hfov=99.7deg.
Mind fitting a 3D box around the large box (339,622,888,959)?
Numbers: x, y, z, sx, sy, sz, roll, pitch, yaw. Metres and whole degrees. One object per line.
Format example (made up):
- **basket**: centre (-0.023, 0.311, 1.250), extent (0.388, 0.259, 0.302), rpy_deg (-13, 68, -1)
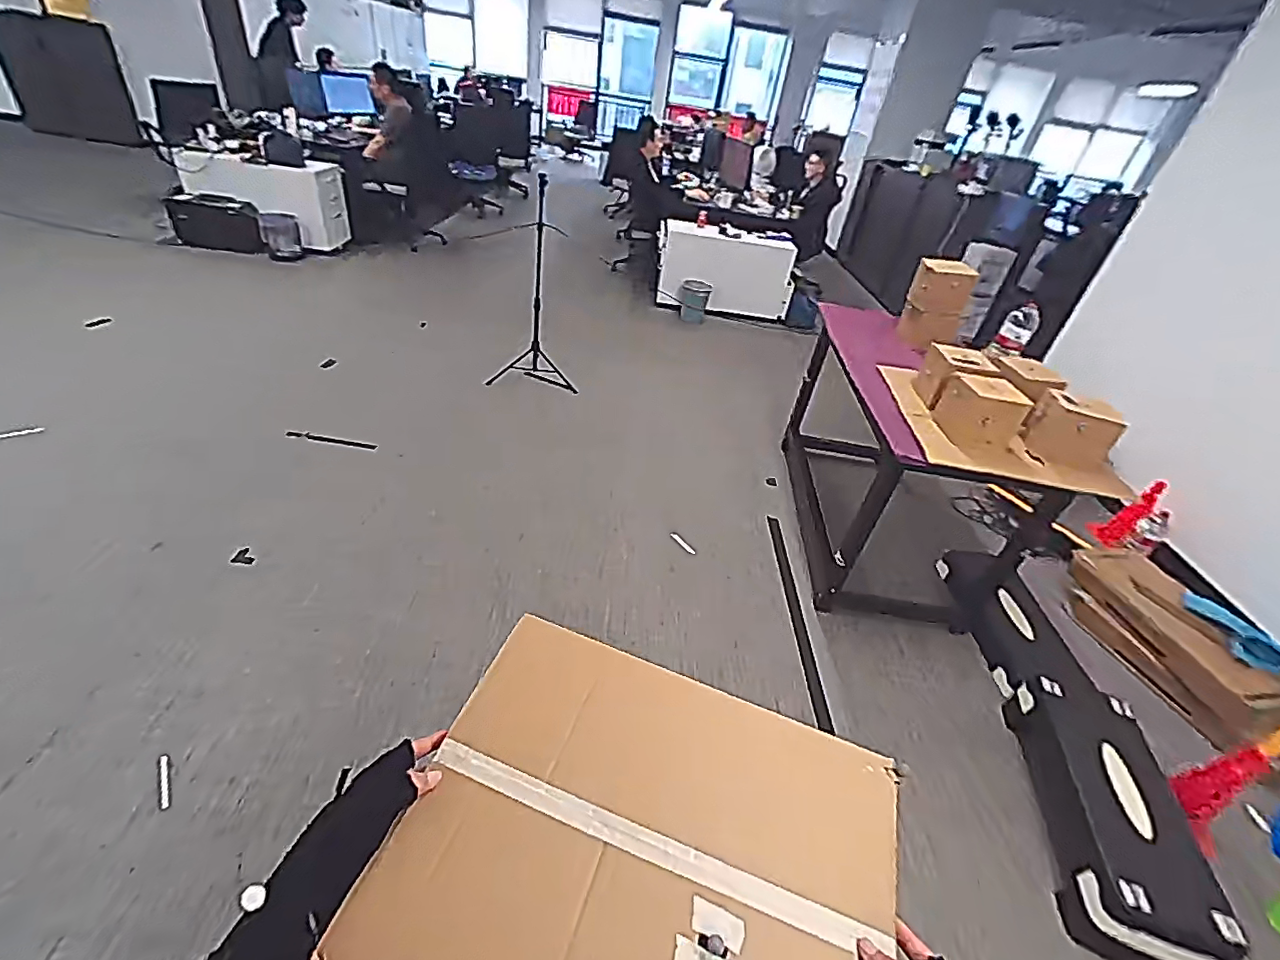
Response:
- **large box**: centre (-0.008, 0.418, 0.566), extent (0.408, 0.320, 0.320), rpy_deg (19, 44, 10)
